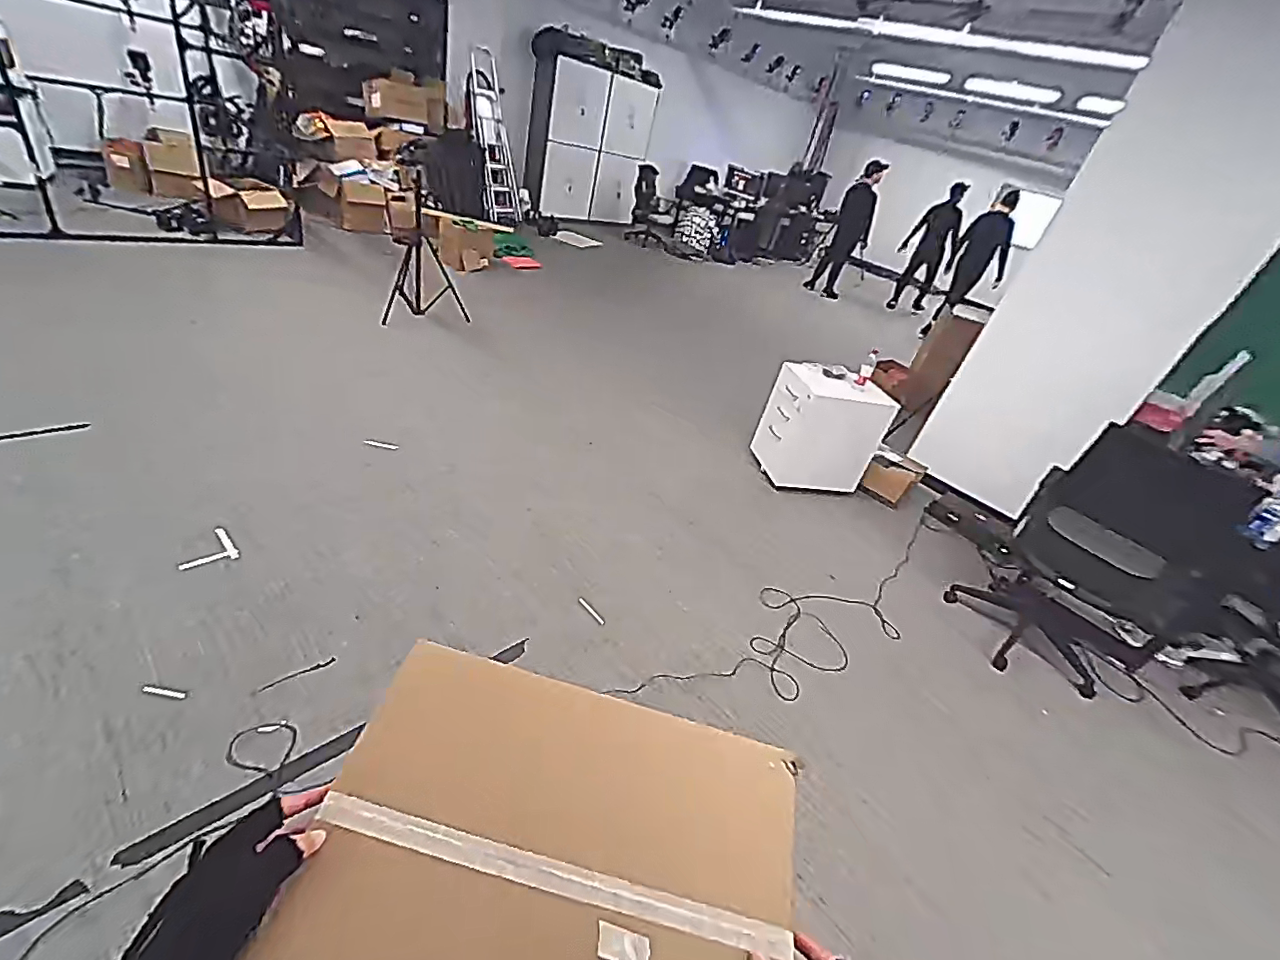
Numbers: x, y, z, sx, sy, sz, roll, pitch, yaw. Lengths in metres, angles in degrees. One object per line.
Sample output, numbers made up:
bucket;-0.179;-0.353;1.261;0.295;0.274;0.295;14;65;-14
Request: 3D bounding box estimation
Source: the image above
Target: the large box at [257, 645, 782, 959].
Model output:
large box;-0.099;0.432;0.575;0.408;0.320;0.320;17;46;0
